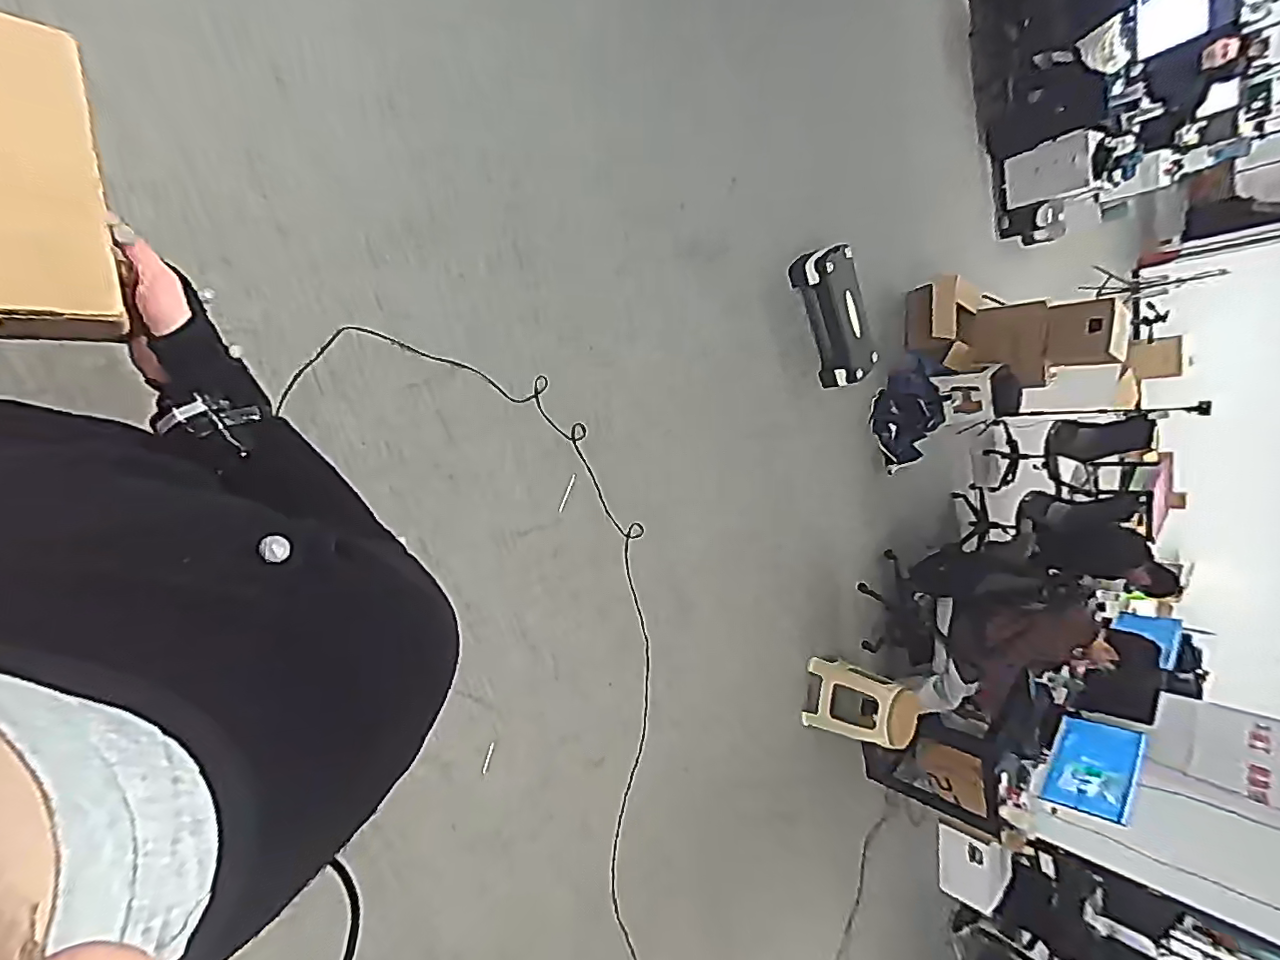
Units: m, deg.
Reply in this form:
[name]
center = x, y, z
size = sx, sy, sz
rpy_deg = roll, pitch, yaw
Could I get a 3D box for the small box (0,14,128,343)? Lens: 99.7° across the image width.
[small box]
center = -0.456, -0.184, 0.349
size = 0.168, 0.176, 0.179
rpy_deg = -11, 103, -43
